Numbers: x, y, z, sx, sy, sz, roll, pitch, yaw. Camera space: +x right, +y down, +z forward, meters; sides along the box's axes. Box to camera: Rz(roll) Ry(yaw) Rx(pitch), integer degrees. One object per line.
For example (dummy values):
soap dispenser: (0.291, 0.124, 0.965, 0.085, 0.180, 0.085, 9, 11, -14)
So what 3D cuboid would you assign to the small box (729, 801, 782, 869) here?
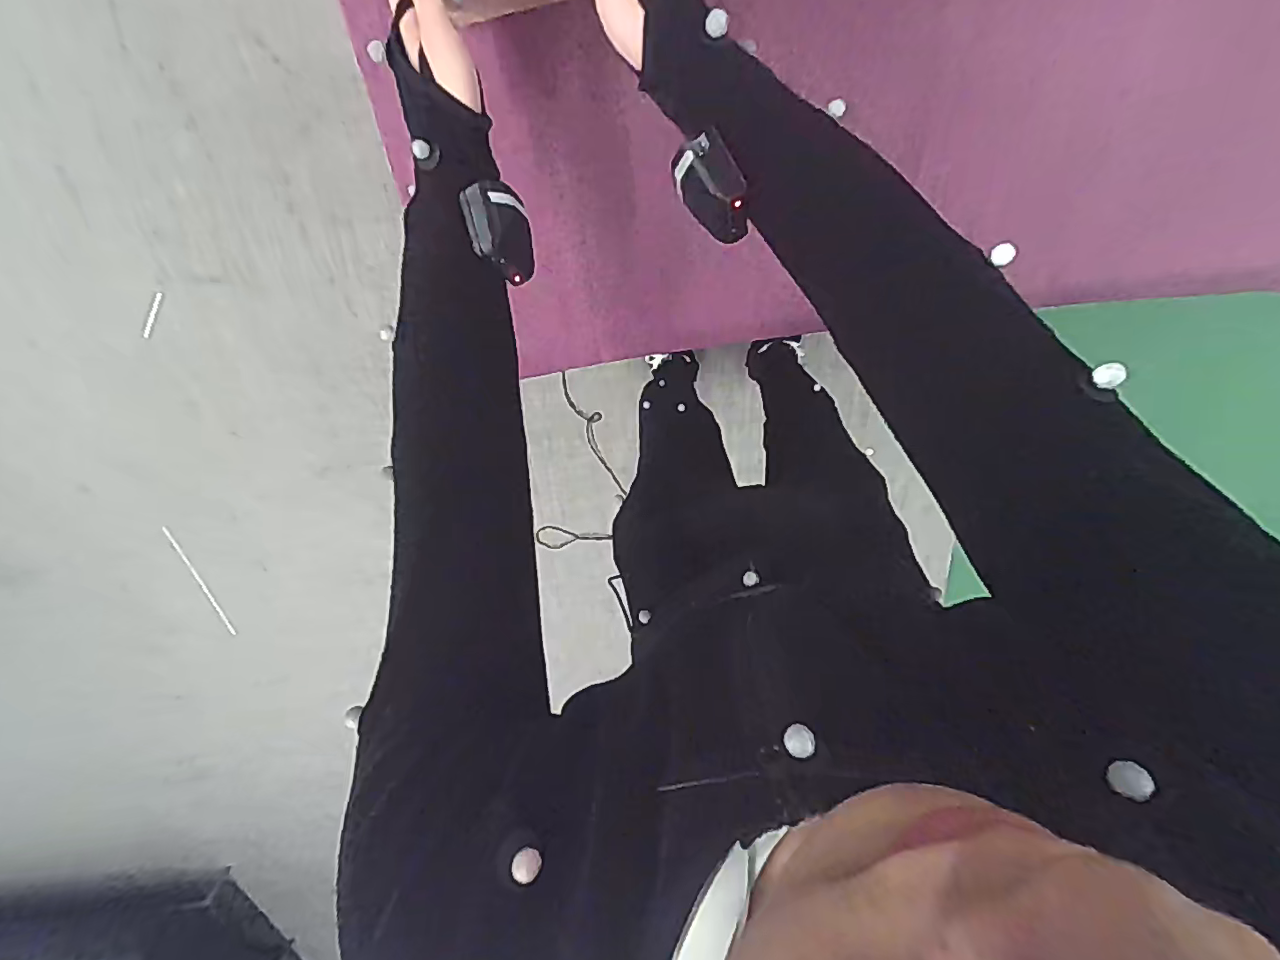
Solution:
small box: (0.441, 1.377, 2.098, 0.168, 0.176, 0.179, -2, 120, 0)

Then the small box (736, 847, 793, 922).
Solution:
small box: (0.444, 1.455, 1.954, 0.168, 0.176, 0.179, -4, 121, 1)
